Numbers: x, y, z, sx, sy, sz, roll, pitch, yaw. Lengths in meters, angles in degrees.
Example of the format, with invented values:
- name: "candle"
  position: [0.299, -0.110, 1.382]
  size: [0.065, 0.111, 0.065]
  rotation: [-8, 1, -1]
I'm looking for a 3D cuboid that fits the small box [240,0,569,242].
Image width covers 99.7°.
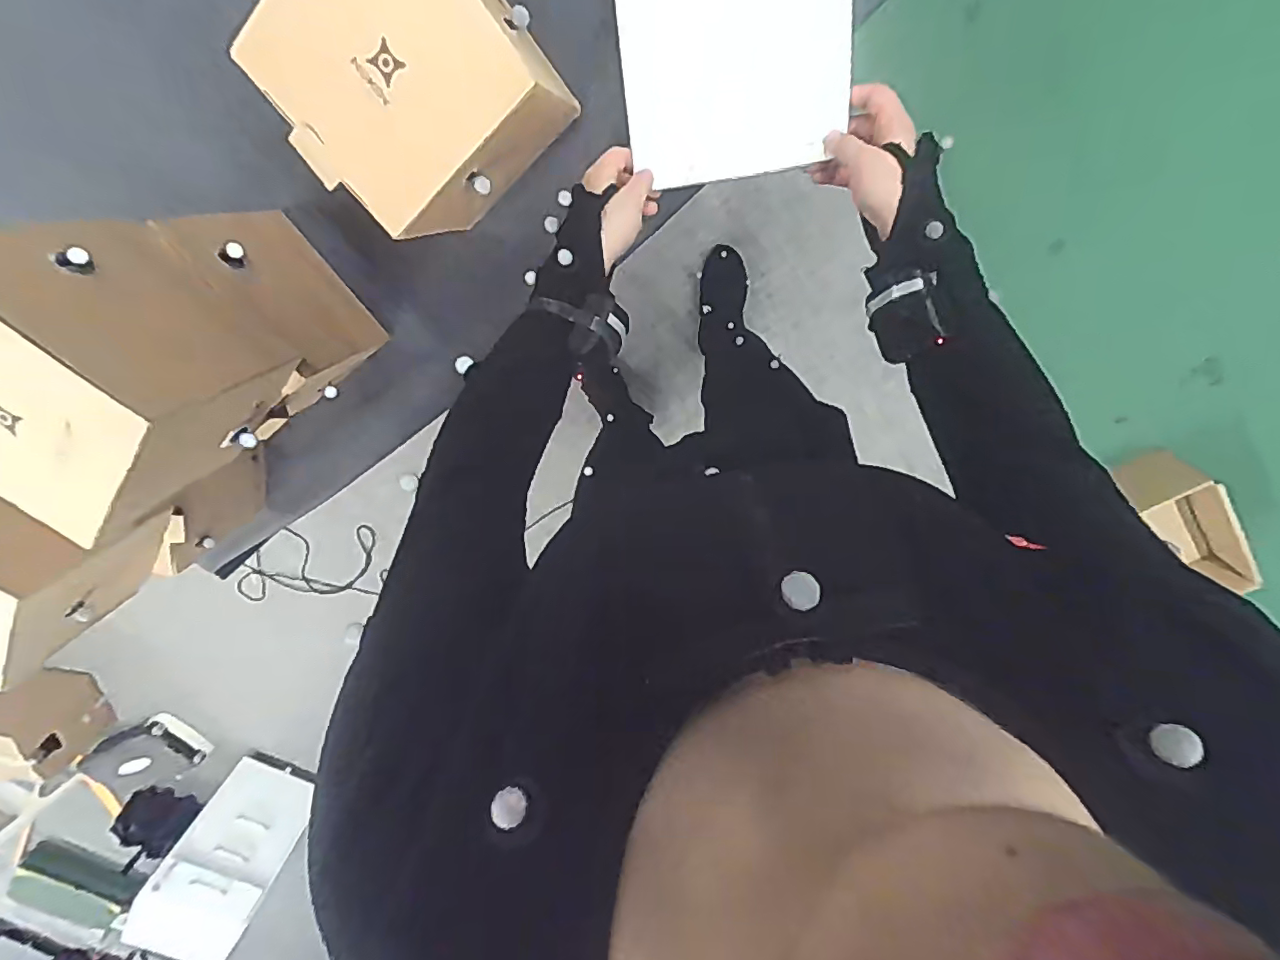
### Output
- name: "small box"
  position: [-0.180, -0.342, 0.471]
  size: [0.179, 0.176, 0.168]
  rotation: [-33, 110, 23]

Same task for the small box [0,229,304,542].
- name: "small box"
  position: [-0.441, -0.088, 0.458]
  size: [0.179, 0.176, 0.168]
  rotation: [41, 117, -16]

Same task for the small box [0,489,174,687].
- name: "small box"
  position: [-0.651, 0.075, 0.573]
  size: [0.168, 0.176, 0.179]
  rotation: [36, 118, -13]

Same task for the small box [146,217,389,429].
- name: "small box"
  position: [-0.428, -0.166, 0.599]
  size: [0.168, 0.176, 0.179]
  rotation: [-29, 112, 22]
